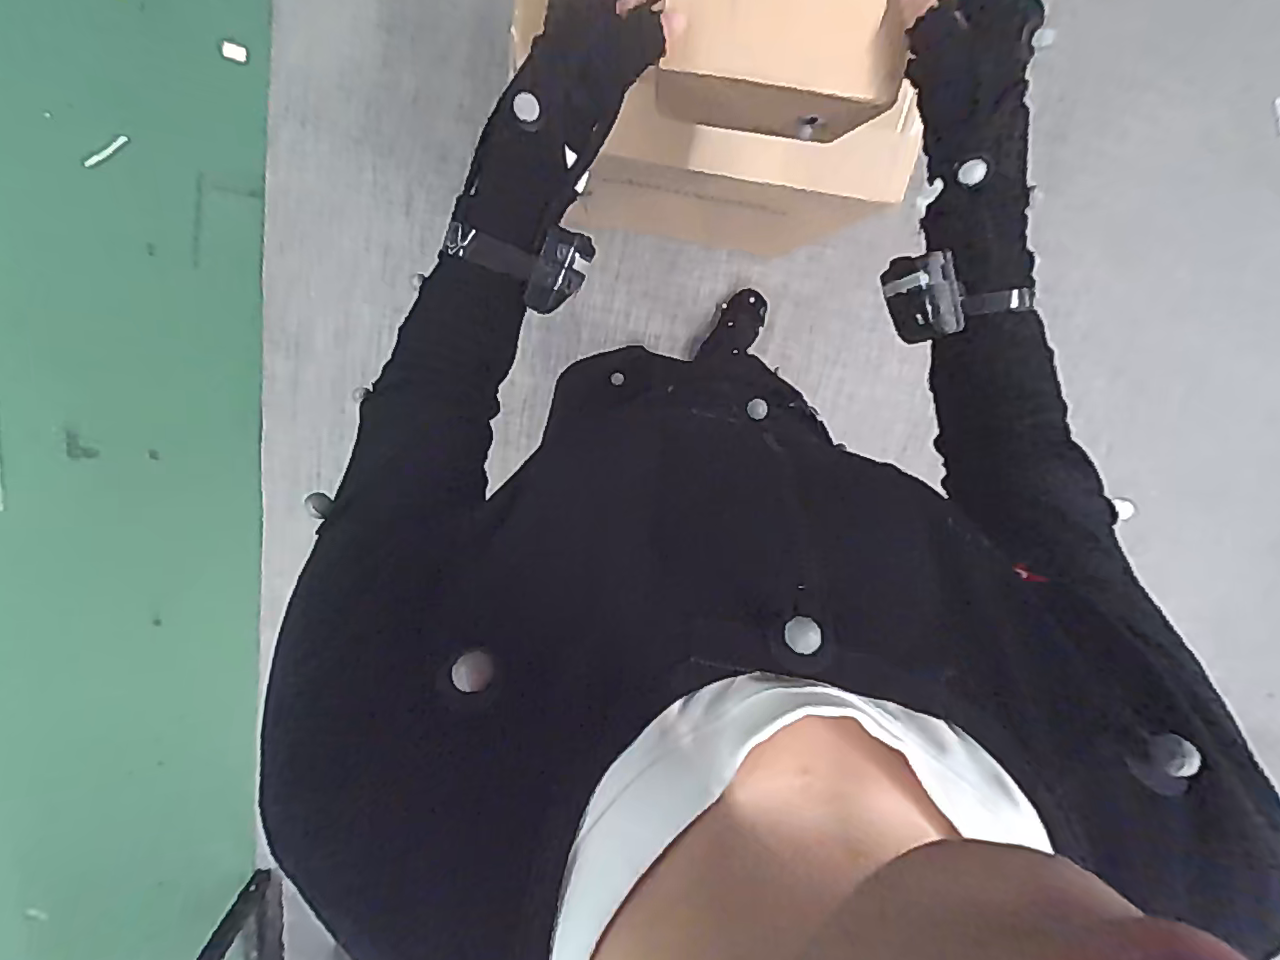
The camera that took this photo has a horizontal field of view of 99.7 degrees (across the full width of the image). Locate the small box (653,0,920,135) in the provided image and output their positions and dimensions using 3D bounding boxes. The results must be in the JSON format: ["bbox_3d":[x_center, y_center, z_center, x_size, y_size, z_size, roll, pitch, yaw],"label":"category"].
[{"bbox_3d":[0.107,-0.387,0.423,0.179,0.176,0.168,7,112,0],"label":"small box"}]
